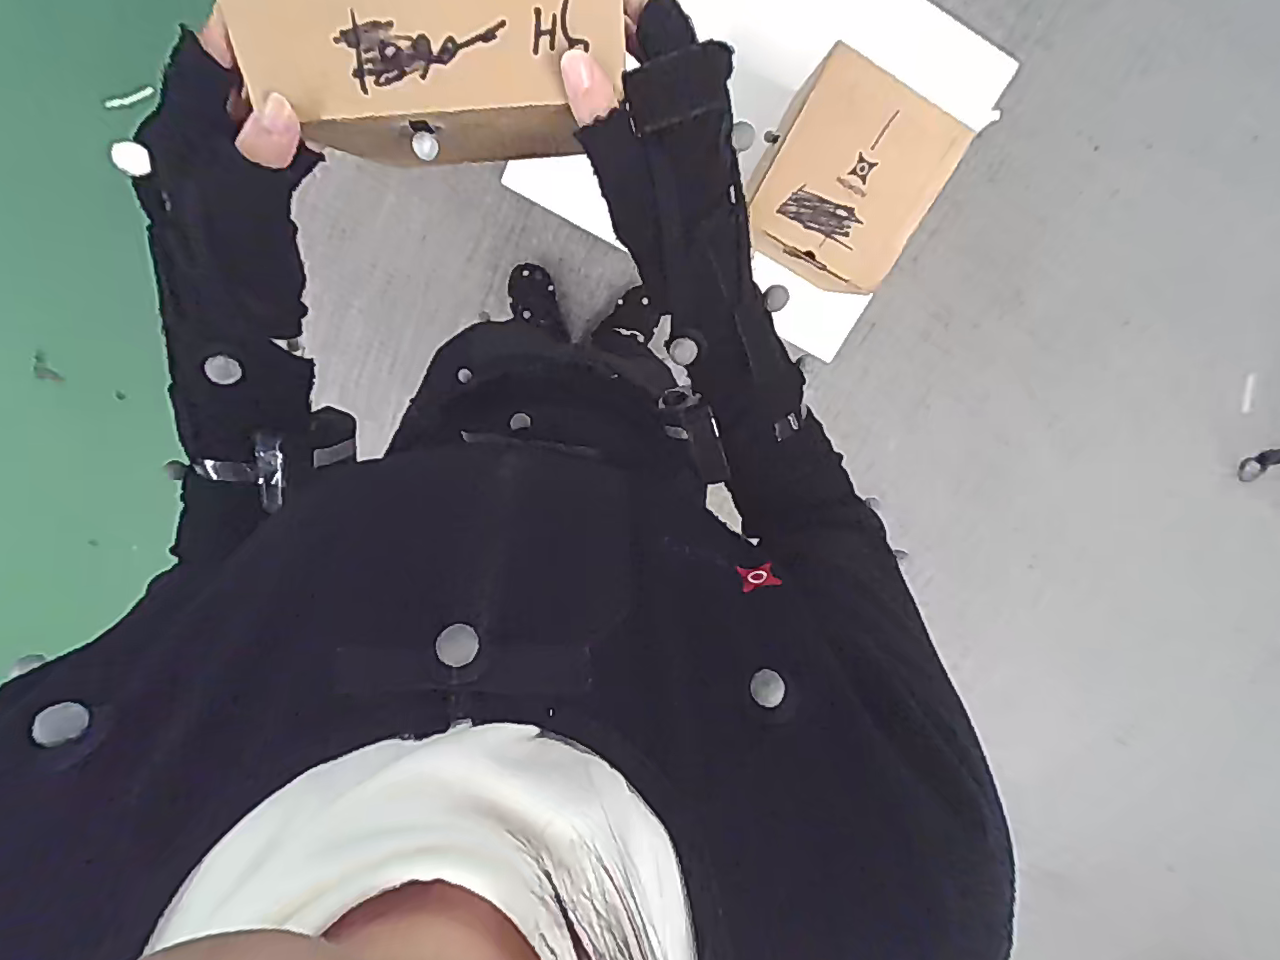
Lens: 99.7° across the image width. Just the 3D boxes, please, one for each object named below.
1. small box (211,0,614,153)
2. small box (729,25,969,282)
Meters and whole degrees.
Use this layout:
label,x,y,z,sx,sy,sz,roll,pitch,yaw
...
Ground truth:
label,x,y,z,sx,sy,sz,roll,pitch,yaw
small box,-0.106,-0.287,0.278,0.168,0.176,0.179,-6,114,-3
small box,0.215,-0.347,0.618,0.168,0.176,0.179,27,109,-8
